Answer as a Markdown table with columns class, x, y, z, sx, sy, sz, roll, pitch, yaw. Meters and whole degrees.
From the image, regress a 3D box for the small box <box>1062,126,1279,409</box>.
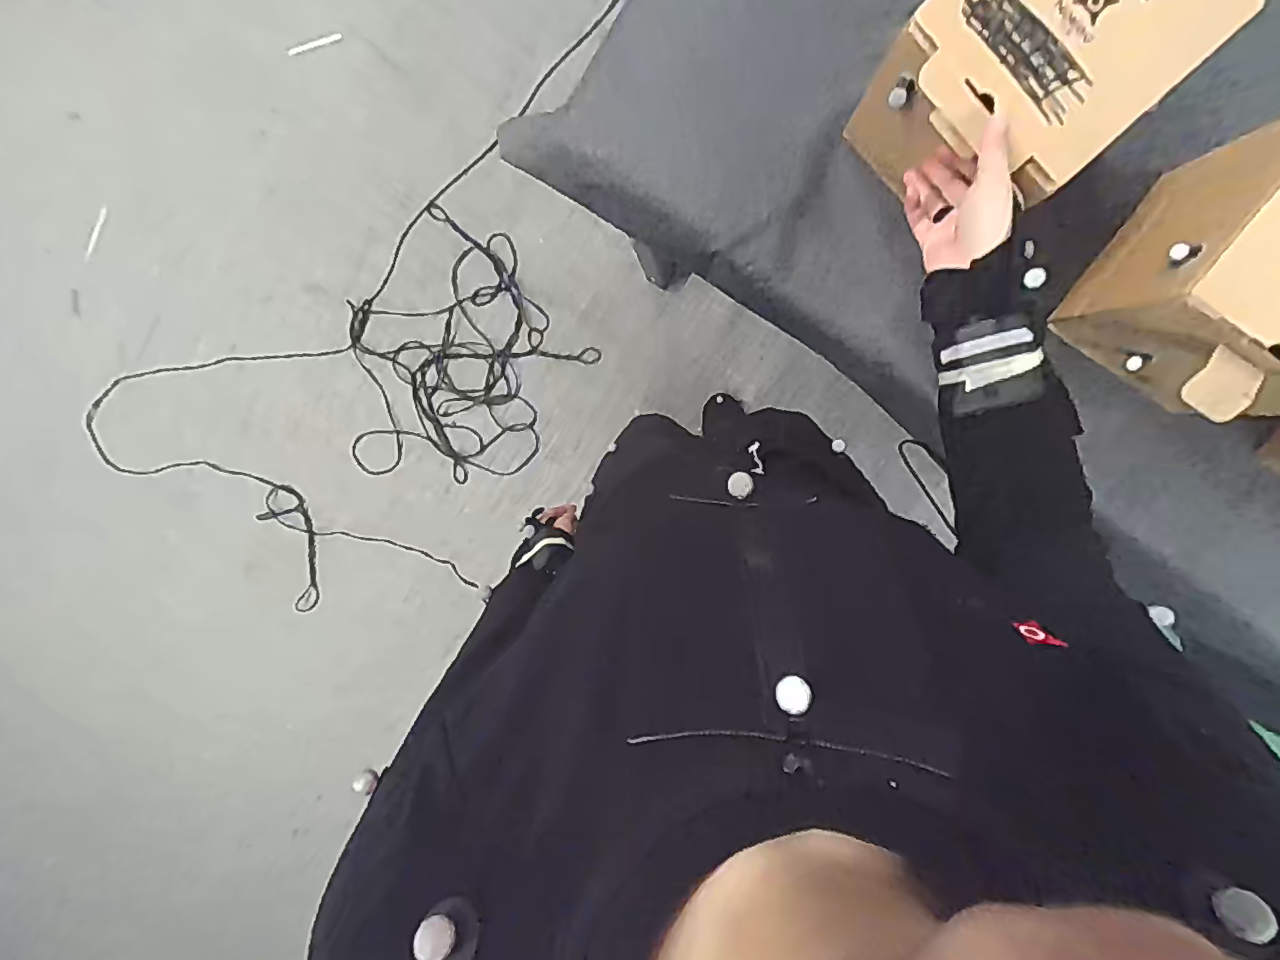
| class | x | y | z | sx | sy | sz | roll | pitch | yaw |
| --- | --- | --- | --- | --- | --- | --- | --- | --- | --- |
| small box | 0.526 | -0.177 | 0.460 | 0.168 | 0.176 | 0.179 | 33 | 101 | -1 |
